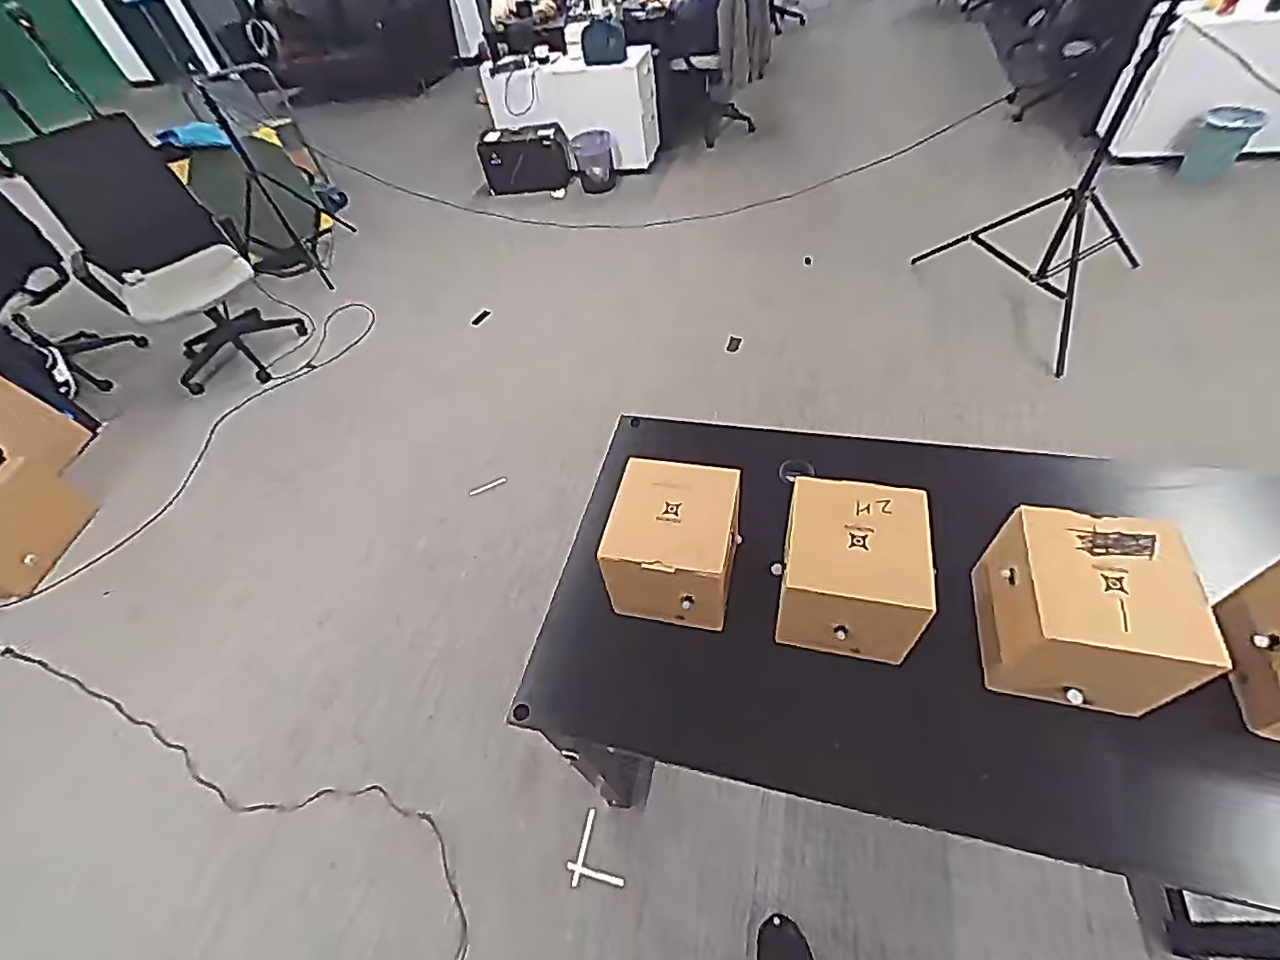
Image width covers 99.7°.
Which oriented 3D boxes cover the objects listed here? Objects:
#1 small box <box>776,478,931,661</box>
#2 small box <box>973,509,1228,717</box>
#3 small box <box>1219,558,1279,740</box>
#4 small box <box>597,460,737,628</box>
[{"bbox_3d":[0.279,0.124,0.733,0.168,0.176,0.179,7,52,14],"label":"small box"},{"bbox_3d":[0.532,0.163,0.662,0.168,0.176,0.179,7,53,15],"label":"small box"},{"bbox_3d":[0.801,0.199,0.590,0.179,0.176,0.168,9,52,17],"label":"small box"},{"bbox_3d":[0.049,0.096,0.795,0.168,0.176,0.179,7,51,12],"label":"small box"}]
